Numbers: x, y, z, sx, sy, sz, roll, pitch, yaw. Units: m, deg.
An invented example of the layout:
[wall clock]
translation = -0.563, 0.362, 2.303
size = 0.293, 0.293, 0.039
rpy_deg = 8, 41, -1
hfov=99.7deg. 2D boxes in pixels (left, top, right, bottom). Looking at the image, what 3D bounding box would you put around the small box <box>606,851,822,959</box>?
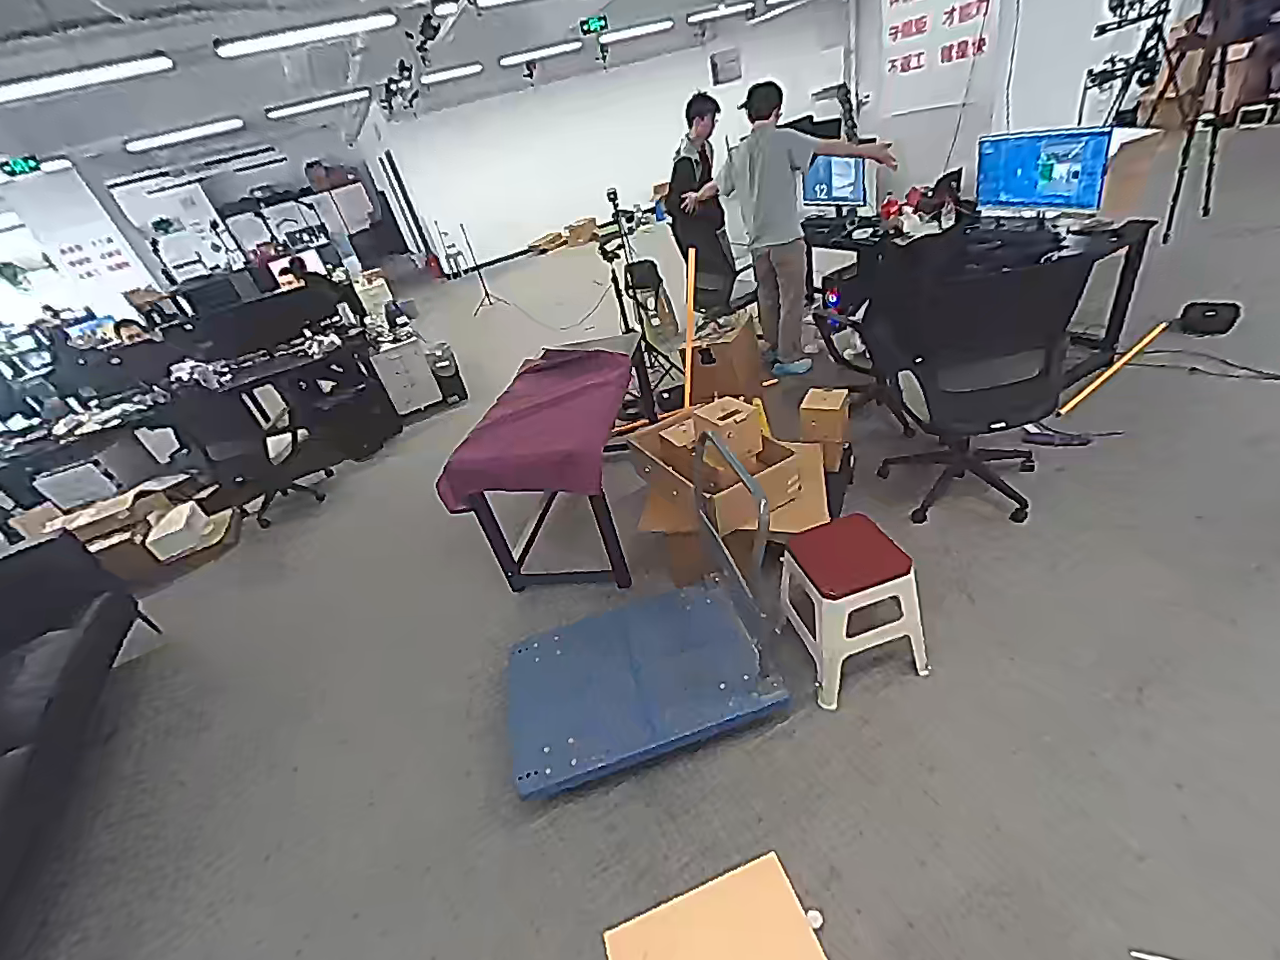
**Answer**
[small box]
translation = 0.083, 0.470, 0.457
size = 0.168, 0.176, 0.179
rpy_deg = -19, 34, -8
